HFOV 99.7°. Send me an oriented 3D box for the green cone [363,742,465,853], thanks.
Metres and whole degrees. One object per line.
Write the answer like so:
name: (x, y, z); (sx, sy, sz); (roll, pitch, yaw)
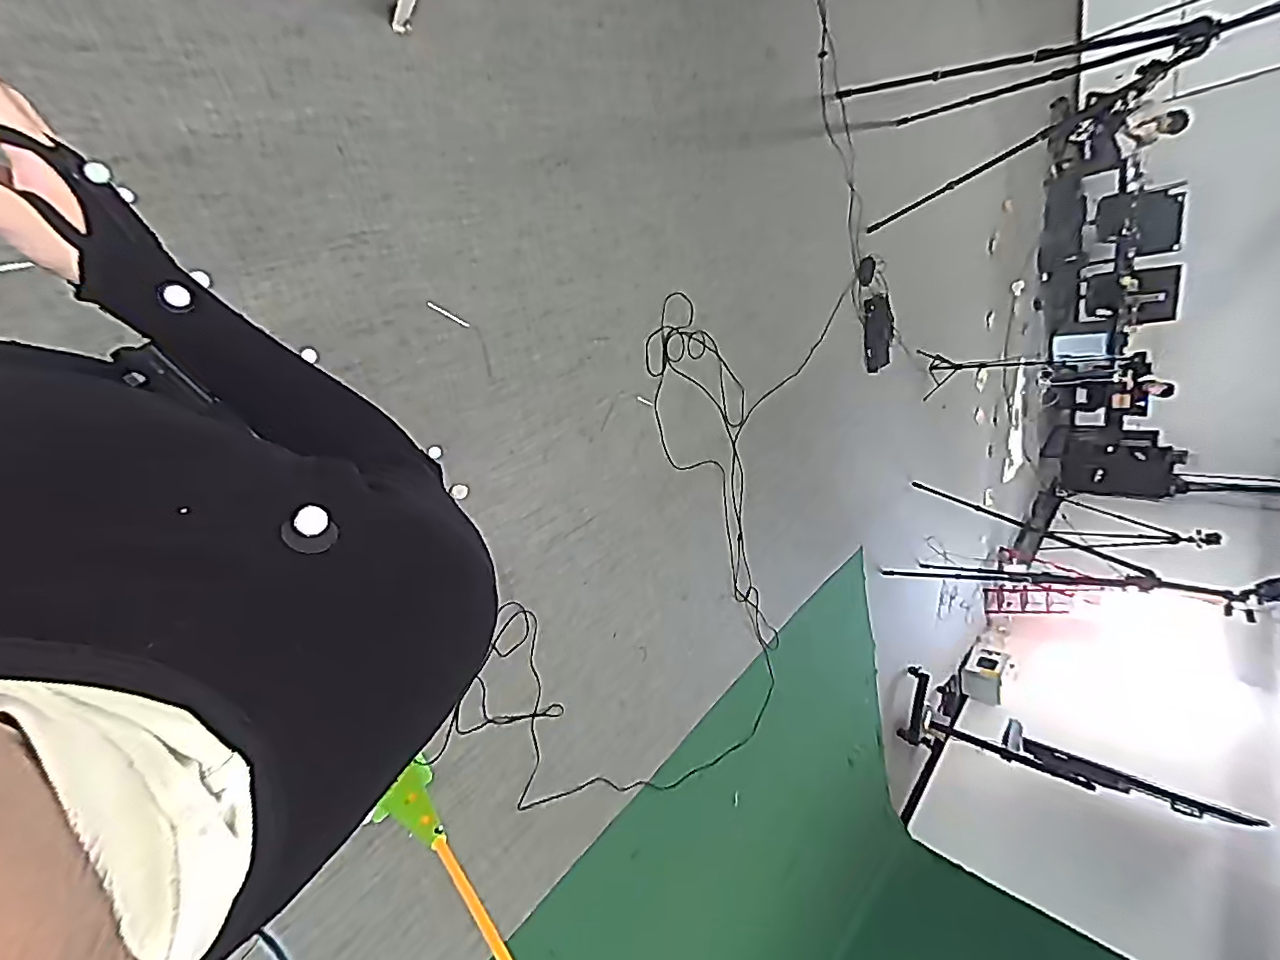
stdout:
green cone: (-0.614, 0.965, 1.564); (0.202, 0.368, 0.200); (-32, 117, -37)
